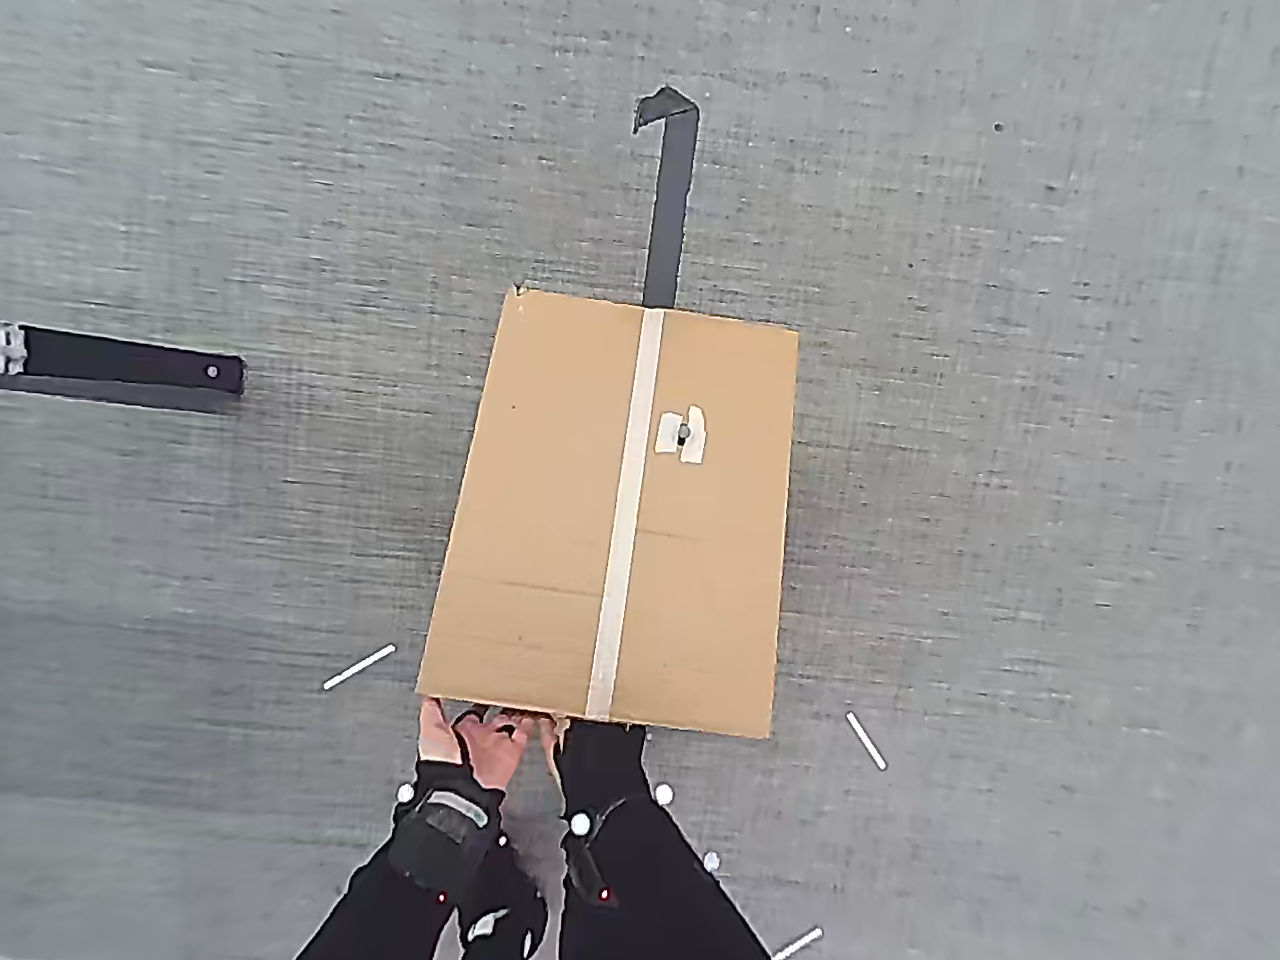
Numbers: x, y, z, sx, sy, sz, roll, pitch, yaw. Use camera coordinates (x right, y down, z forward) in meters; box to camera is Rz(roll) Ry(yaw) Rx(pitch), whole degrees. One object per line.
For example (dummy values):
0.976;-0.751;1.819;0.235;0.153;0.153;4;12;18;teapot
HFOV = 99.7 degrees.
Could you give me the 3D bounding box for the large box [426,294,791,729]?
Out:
-0.023;0.051;0.665;0.320;0.320;0.408;9;75;-3;large box
